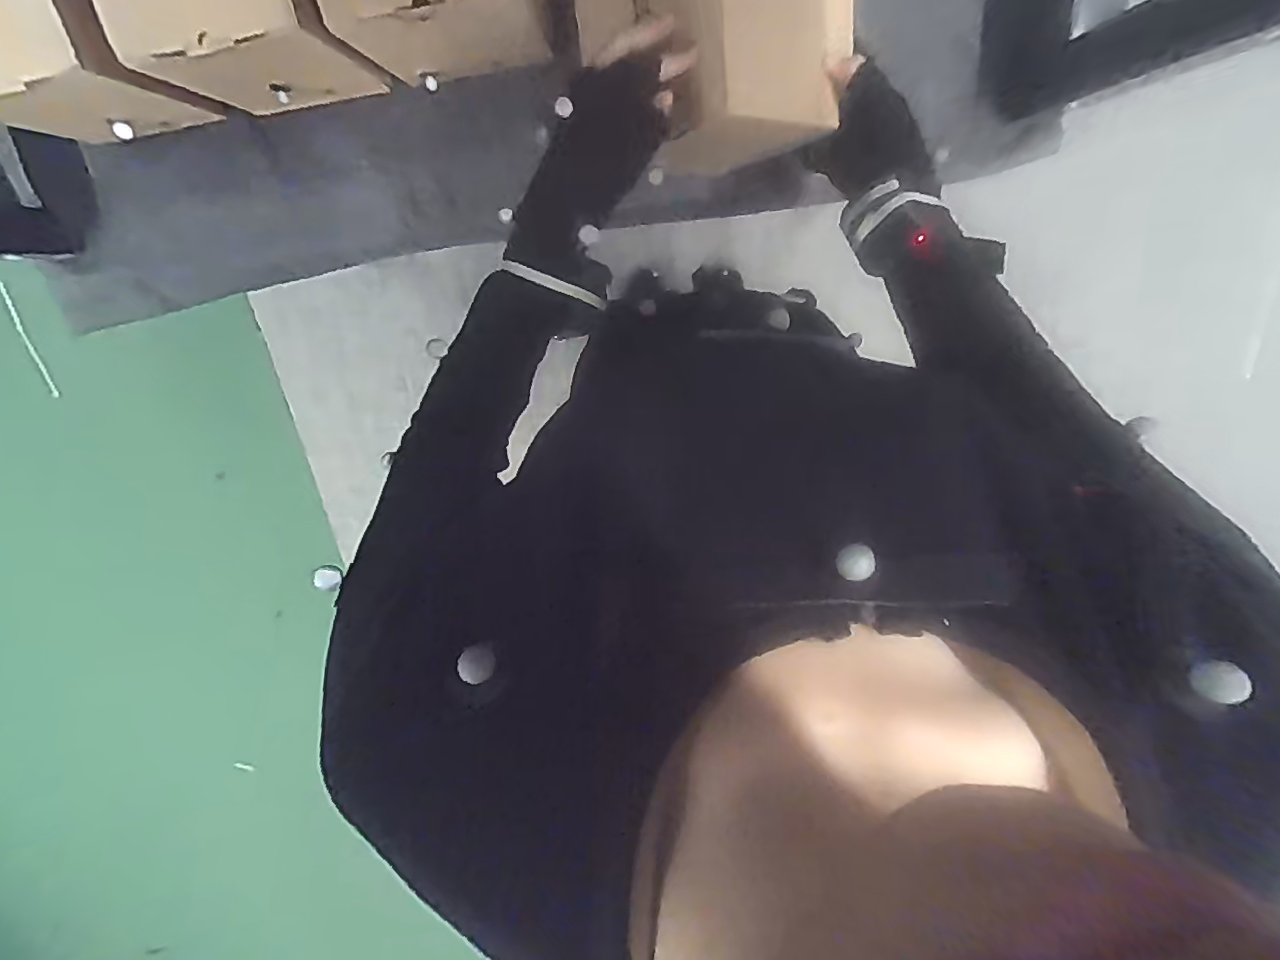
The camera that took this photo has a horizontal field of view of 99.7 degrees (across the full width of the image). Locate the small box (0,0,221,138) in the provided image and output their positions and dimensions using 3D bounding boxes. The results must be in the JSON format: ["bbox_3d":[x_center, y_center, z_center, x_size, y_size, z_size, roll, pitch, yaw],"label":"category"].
[{"bbox_3d":[-0.555,-0.448,0.504,0.168,0.176,0.179,-7,112,6],"label":"small box"}]
